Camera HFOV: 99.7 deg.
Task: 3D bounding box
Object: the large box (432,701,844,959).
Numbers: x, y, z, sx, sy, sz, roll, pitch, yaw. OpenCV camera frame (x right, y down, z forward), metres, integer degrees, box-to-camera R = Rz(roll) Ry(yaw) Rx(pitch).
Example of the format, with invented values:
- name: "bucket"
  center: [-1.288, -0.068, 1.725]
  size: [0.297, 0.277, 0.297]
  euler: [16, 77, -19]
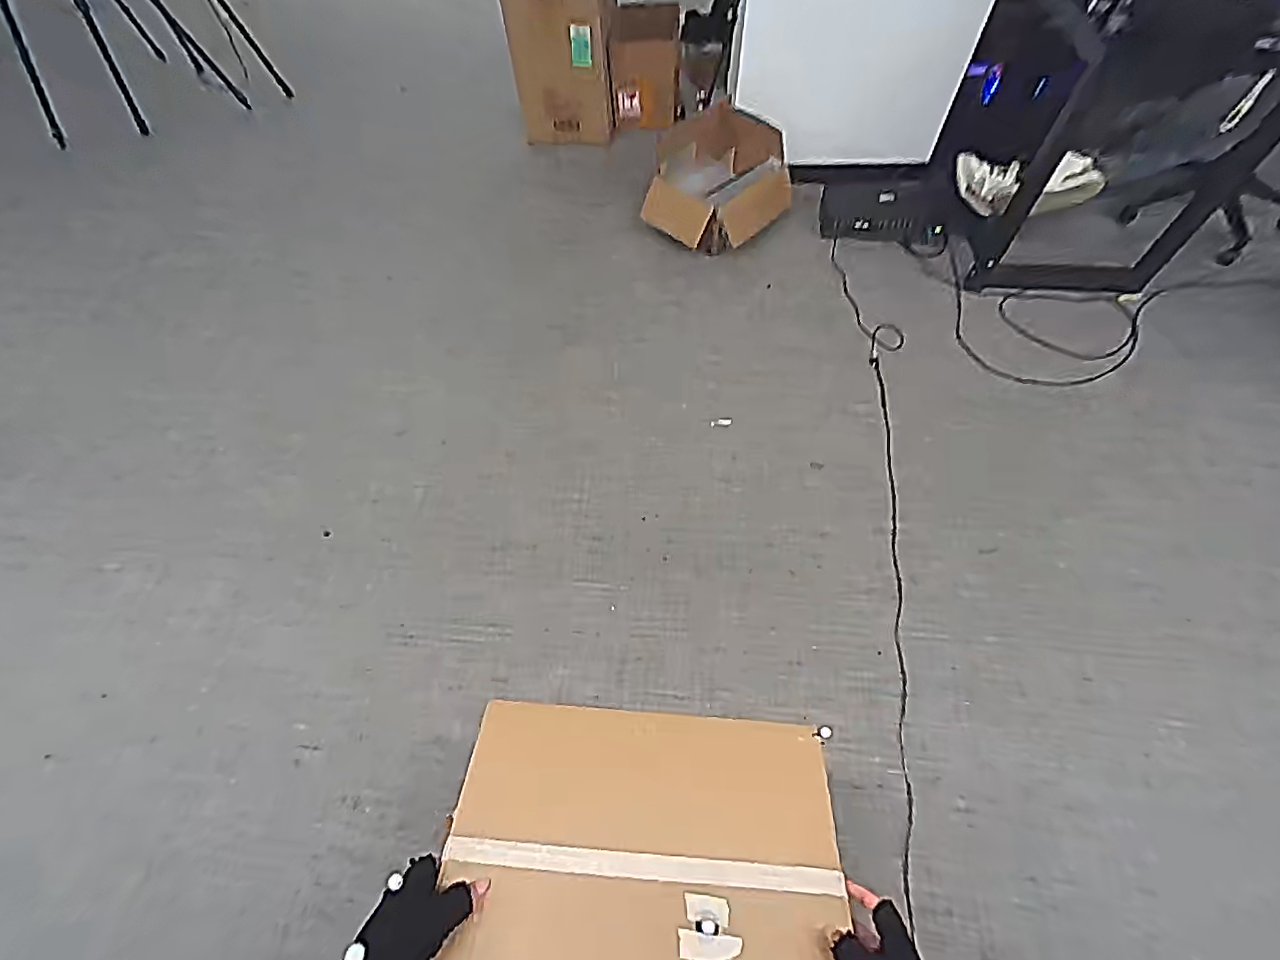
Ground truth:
- name: "large box"
  center: [0.000, 0.507, 0.681]
  size: [0.408, 0.320, 0.320]
  euler: [4, 45, 2]
